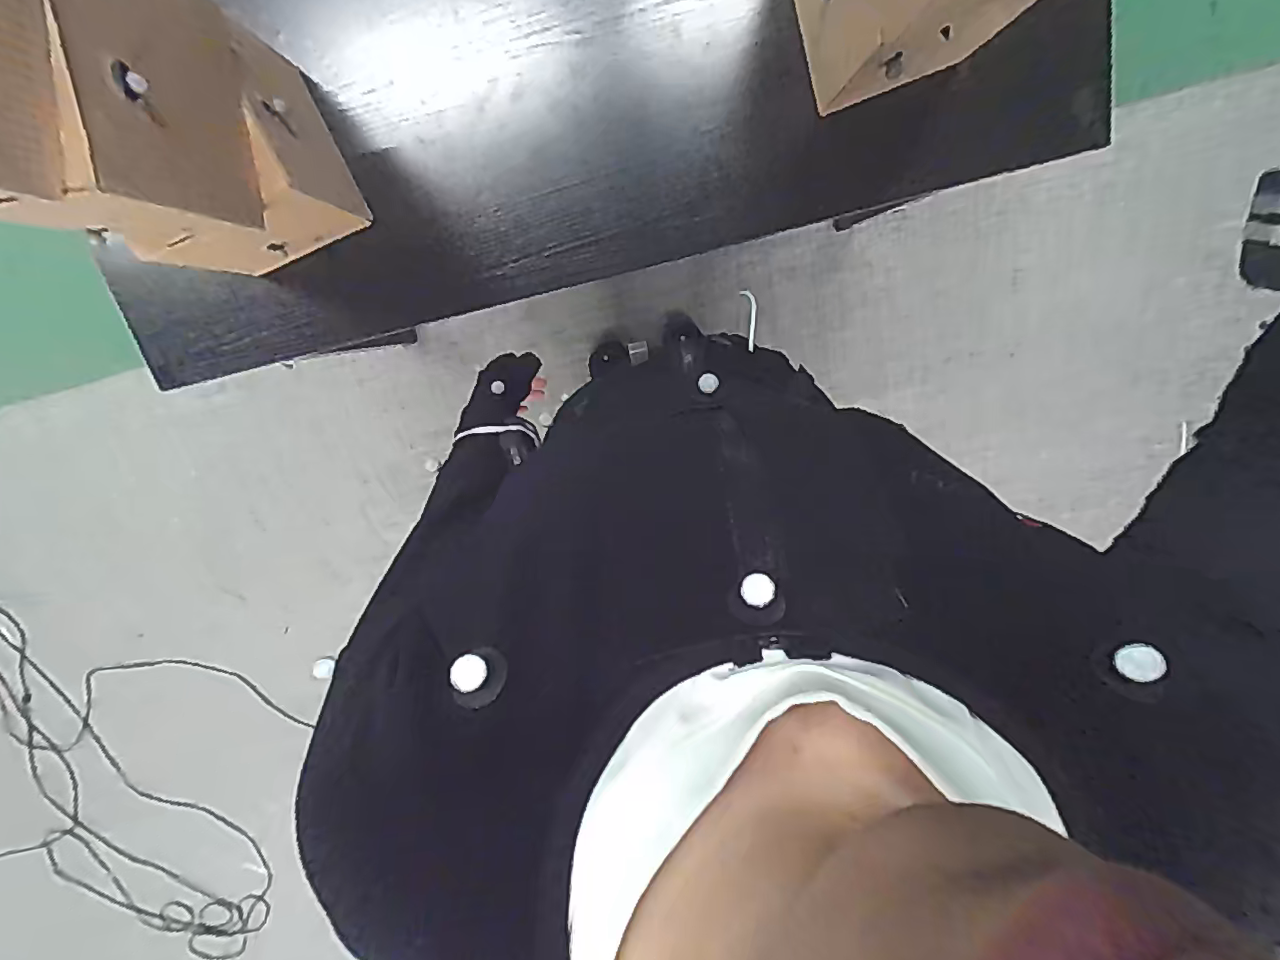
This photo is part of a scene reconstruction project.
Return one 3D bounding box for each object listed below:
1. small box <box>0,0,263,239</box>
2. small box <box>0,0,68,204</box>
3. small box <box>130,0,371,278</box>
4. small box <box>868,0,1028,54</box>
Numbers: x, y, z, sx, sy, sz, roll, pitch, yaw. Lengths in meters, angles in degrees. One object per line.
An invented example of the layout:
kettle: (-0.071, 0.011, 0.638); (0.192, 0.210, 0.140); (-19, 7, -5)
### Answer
small box: (-0.422, -0.281, 0.401); (0.168, 0.176, 0.179); (-1, 106, -1)
small box: (-0.423, -0.240, 0.242); (0.168, 0.176, 0.179); (9, 107, -5)
small box: (-0.422, -0.328, 0.558); (0.168, 0.176, 0.179); (-22, 106, 5)
small box: (0.253, -0.446, 0.361); (0.168, 0.176, 0.179); (-21, 105, 6)
